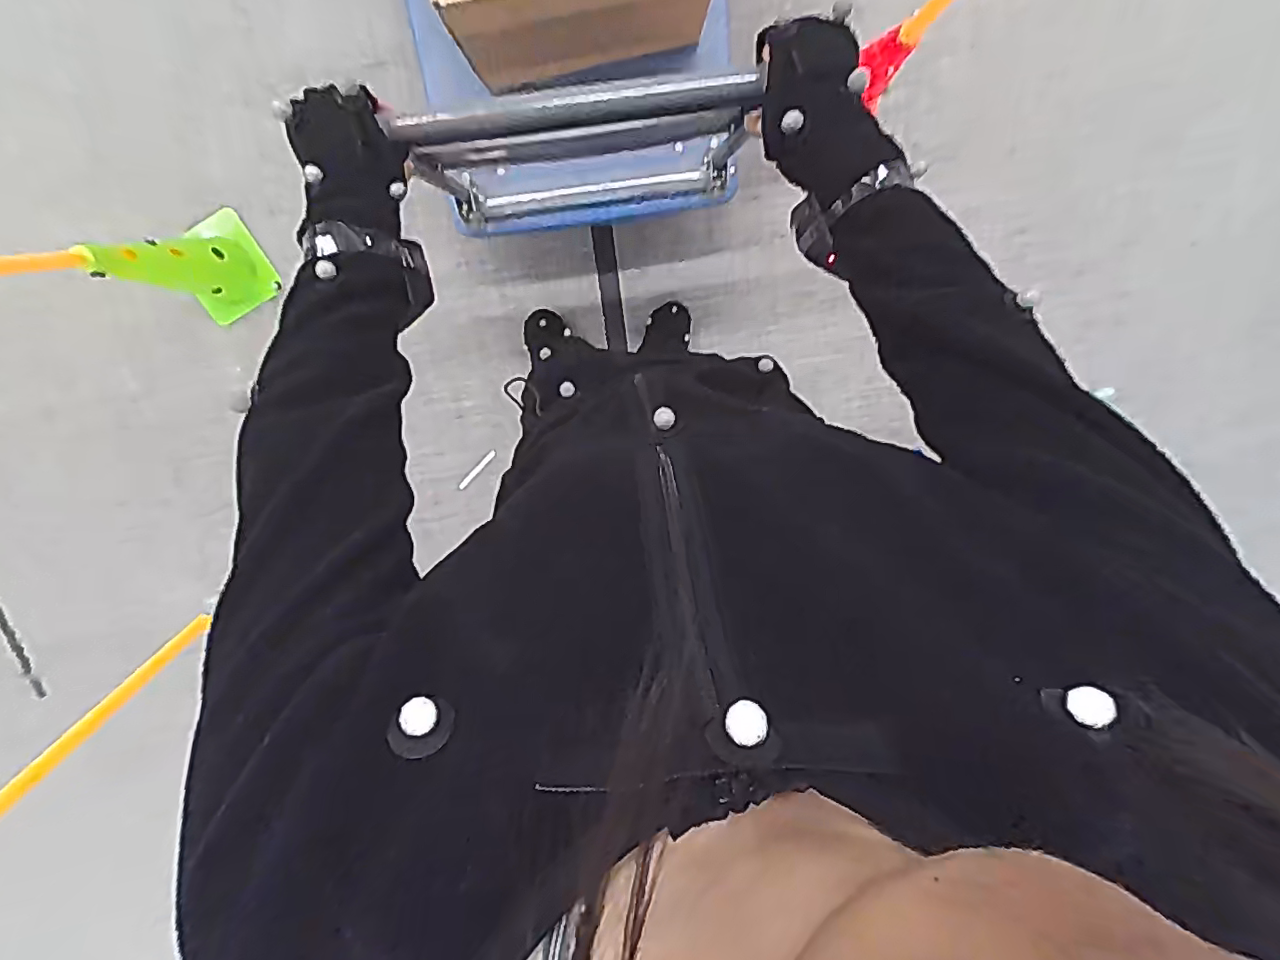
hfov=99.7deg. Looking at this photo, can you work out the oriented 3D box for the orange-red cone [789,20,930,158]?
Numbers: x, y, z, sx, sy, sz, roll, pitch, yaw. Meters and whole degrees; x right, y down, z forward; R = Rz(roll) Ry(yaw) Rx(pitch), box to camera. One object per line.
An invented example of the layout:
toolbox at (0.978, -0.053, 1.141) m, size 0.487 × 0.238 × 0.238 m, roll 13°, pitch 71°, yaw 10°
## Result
orange-red cone at (0.434, -0.760, 1.015) m, size 0.199 × 0.360 × 0.198 m, roll -2°, pitch 109°, yaw -2°
